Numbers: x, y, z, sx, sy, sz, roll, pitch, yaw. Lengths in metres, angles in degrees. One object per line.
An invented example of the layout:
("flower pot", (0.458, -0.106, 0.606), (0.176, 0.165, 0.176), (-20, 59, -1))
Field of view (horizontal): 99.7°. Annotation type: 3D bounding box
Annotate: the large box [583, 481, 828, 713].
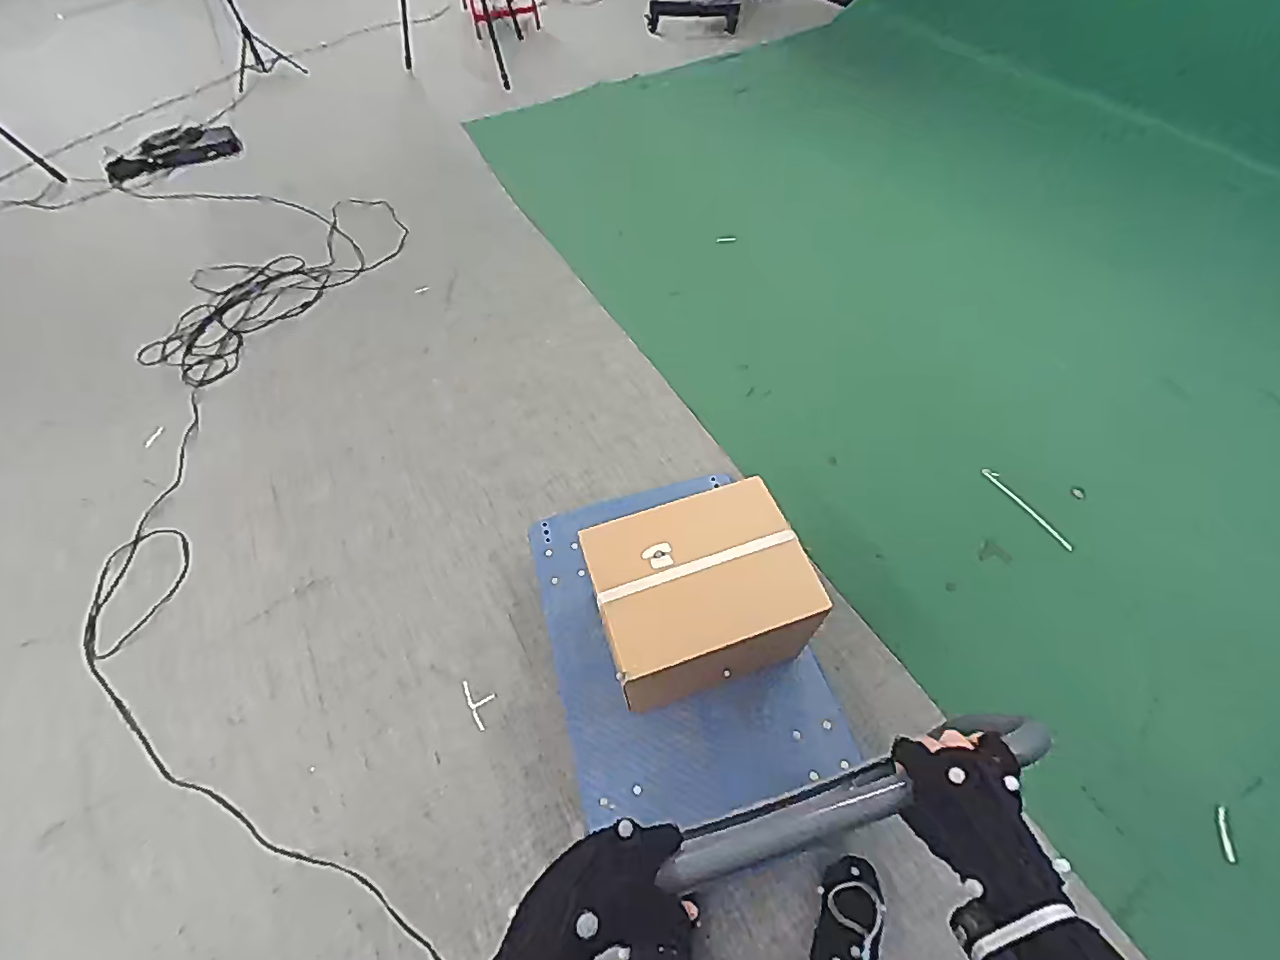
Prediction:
("large box", (0.127, 0.262, 1.179), (0.408, 0.320, 0.320), (-19, 57, -8))
